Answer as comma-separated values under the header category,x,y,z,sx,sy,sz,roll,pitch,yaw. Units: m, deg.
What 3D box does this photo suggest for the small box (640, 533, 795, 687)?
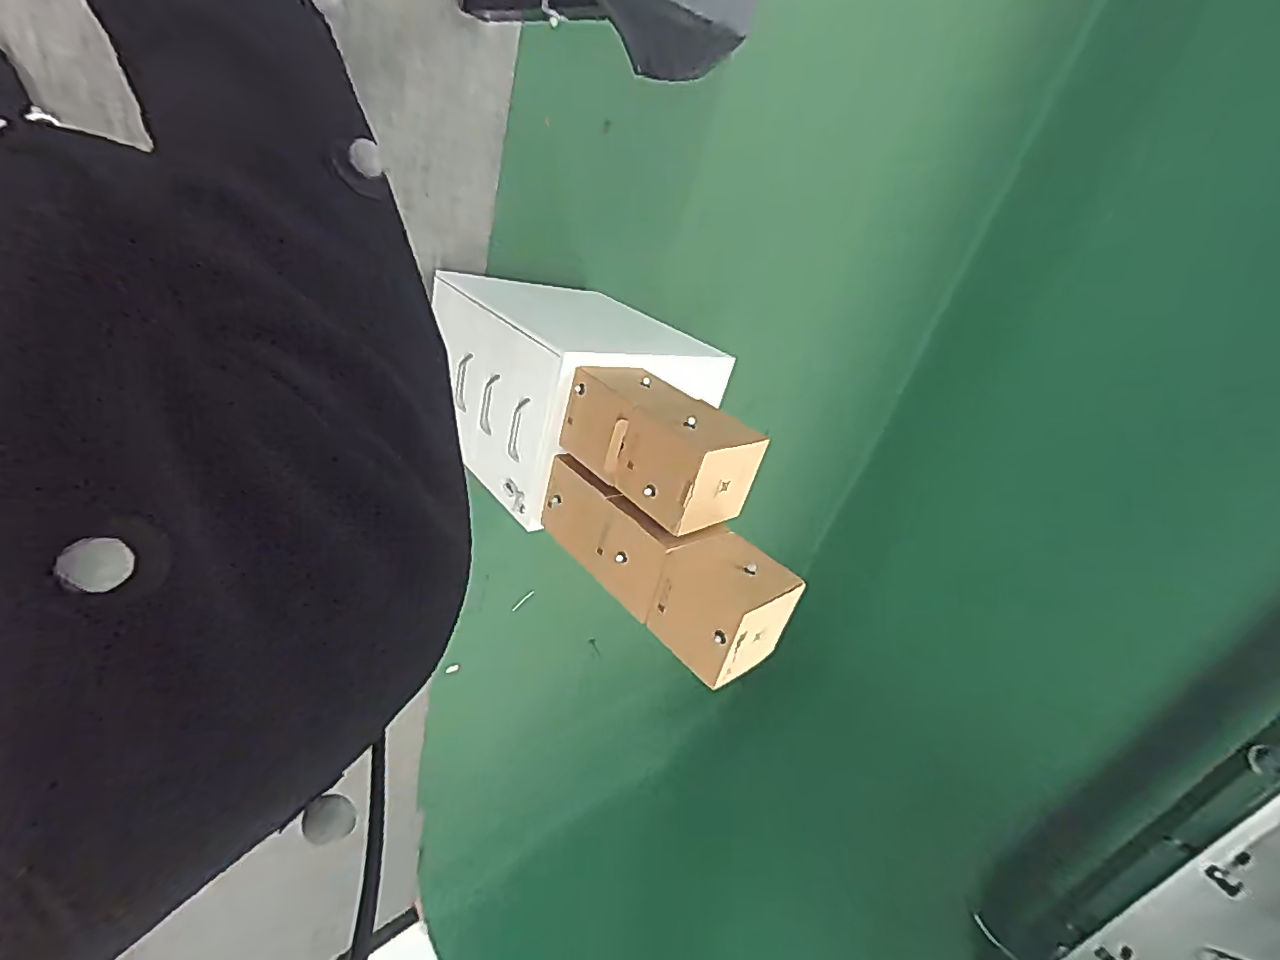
category,x,y,z,sx,sy,sz,roll,pitch,yaw
small box,0.130,0.213,0.939,0.179,0.176,0.168,-13,128,-44

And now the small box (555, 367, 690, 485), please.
category,x,y,z,sx,sy,sz,roll,pitch,yaw
small box,-0.040,-0.110,1.042,0.179,0.176,0.168,-11,128,-45
